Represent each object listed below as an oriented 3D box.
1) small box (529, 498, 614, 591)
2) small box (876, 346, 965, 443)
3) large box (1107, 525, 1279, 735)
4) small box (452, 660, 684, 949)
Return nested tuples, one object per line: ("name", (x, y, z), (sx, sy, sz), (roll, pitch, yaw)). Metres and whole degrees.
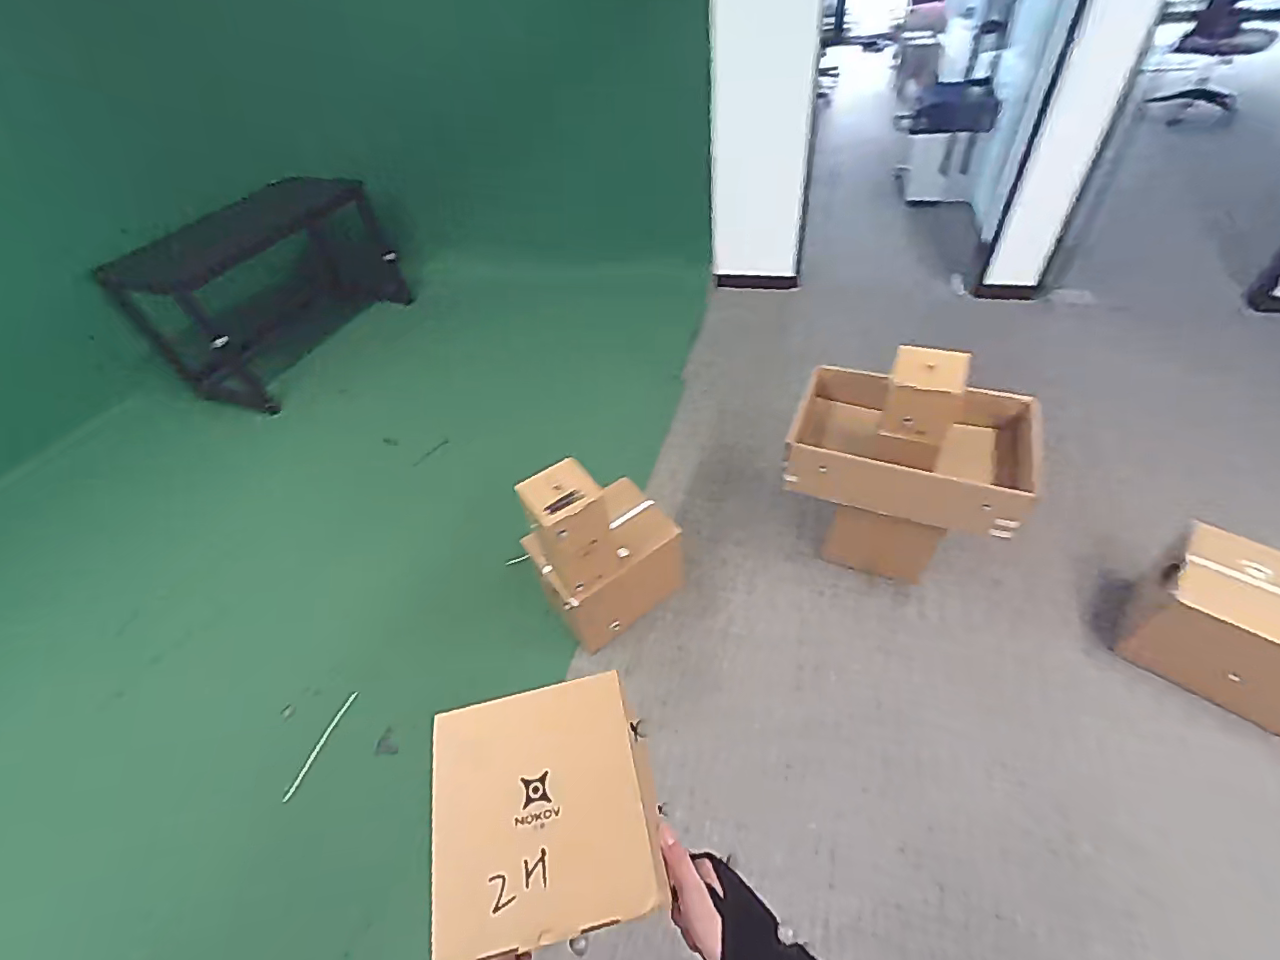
("small box", (-0.189, 0.189, 1.529), (0.168, 0.176, 0.179), (-29, 50, -20))
("small box", (0.739, -0.227, 1.434), (0.168, 0.176, 0.179), (15, 51, 21))
("large box", (1.586, 0.396, 1.439), (0.408, 0.320, 0.320), (28, 56, 31))
("small box", (-0.059, 0.290, 0.492), (0.168, 0.176, 0.179), (-13, 54, -2))
